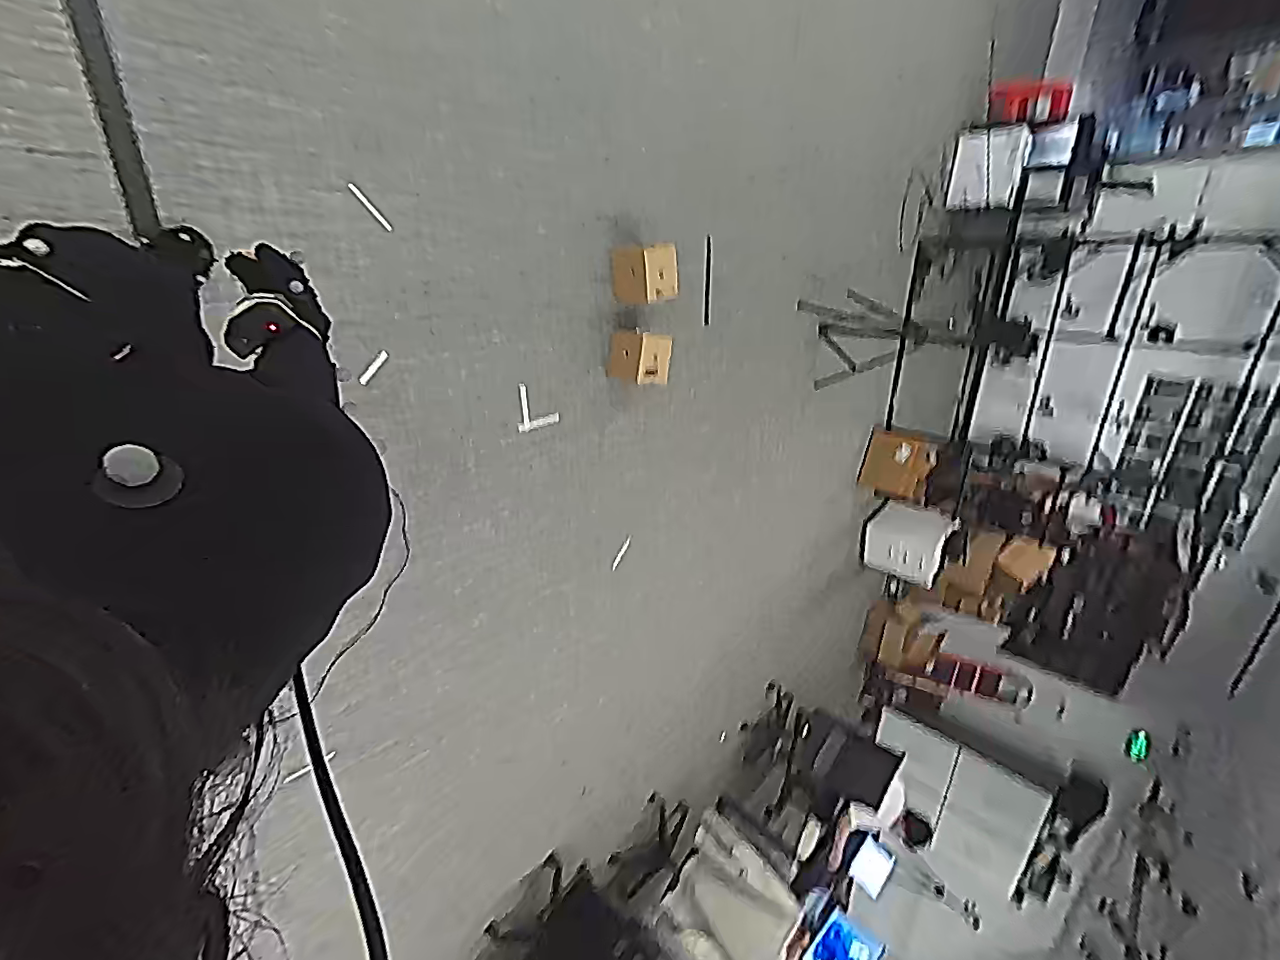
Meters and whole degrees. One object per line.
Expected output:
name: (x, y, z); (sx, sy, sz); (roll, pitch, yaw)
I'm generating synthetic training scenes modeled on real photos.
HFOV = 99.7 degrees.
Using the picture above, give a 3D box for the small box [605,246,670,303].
small box: (-0.012, -0.746, 1.963); (0.168, 0.176, 0.179); (-29, 125, -38)

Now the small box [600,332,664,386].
small box: (-0.036, -0.459, 2.056); (0.168, 0.176, 0.179); (-8, 111, -47)
